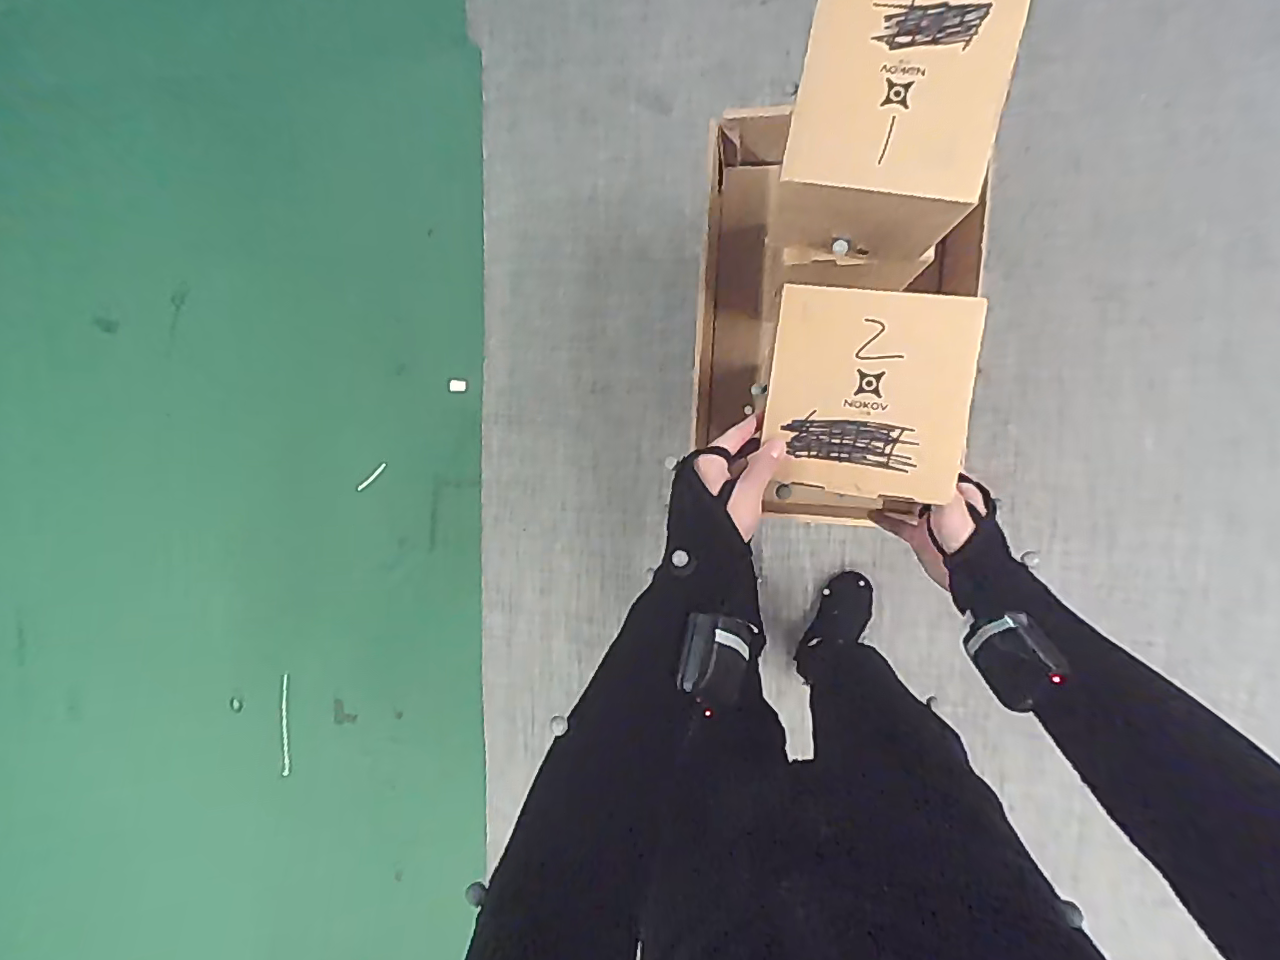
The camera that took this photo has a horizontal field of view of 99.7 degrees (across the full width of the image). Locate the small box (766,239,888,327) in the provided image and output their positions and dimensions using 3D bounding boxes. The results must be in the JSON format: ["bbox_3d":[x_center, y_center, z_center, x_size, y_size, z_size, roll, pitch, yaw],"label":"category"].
[{"bbox_3d":[0.290,-0.349,0.853,0.168,0.176,0.179,3,94,11],"label":"small box"}]

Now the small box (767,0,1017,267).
[{"bbox_3d":[0.225,-0.334,0.534,0.168,0.176,0.179,12,97,10],"label":"small box"}]

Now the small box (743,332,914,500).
[{"bbox_3d":[0.232,-0.079,0.705,0.168,0.176,0.179,10,94,10],"label":"small box"}]

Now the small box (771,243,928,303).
[{"bbox_3d":[0.259,-0.338,0.695,0.168,0.176,0.179,2,94,10],"label":"small box"}]
